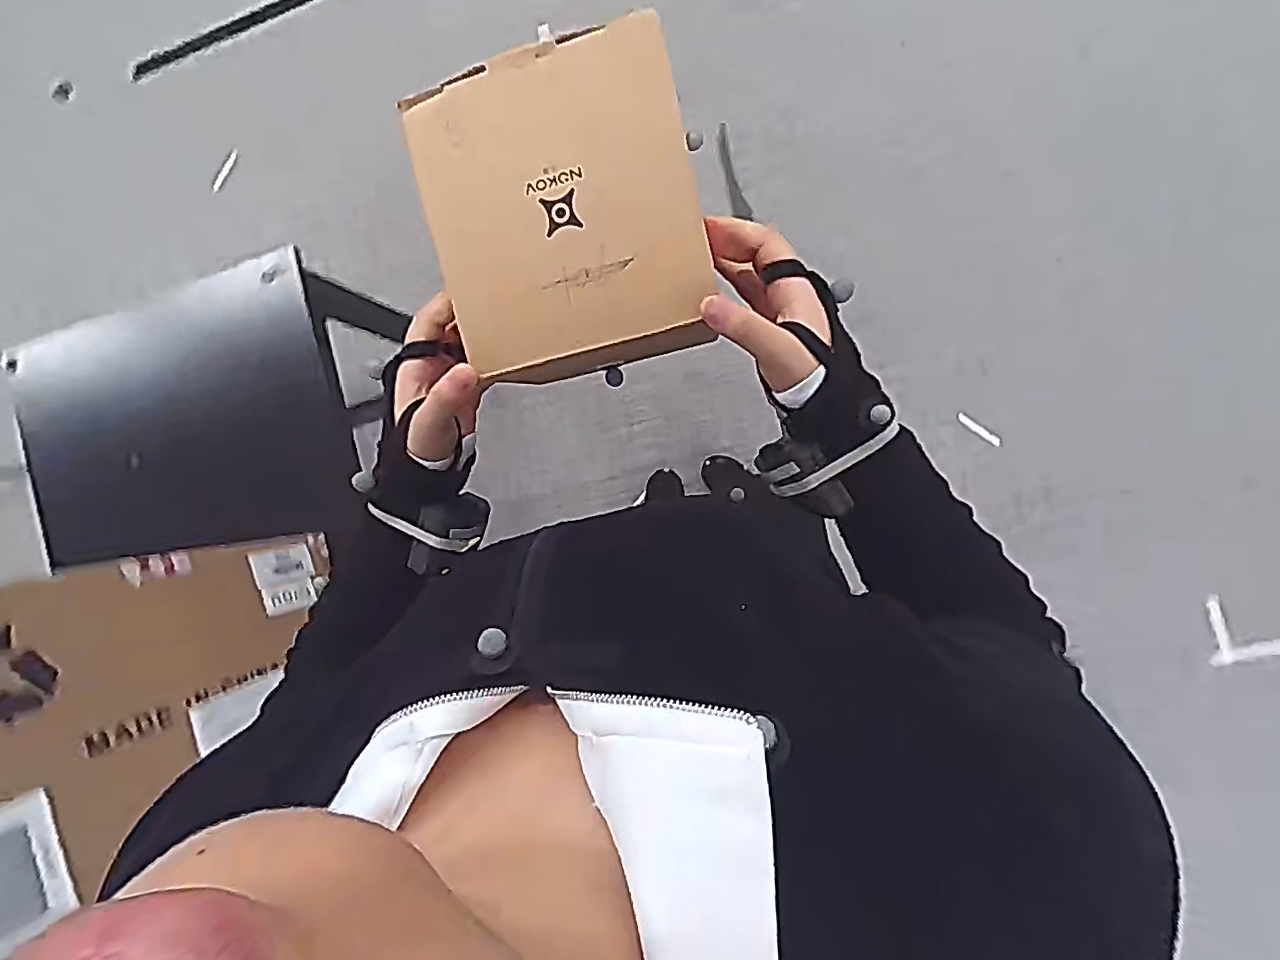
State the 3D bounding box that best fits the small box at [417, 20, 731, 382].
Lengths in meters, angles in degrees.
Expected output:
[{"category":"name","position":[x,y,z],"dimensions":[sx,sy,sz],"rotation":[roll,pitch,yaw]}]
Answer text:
[{"category":"small box","position":[-0.032,-0.176,0.406],"dimensions":[0.168,0.176,0.179],"rotation":[-11,98,9]}]
